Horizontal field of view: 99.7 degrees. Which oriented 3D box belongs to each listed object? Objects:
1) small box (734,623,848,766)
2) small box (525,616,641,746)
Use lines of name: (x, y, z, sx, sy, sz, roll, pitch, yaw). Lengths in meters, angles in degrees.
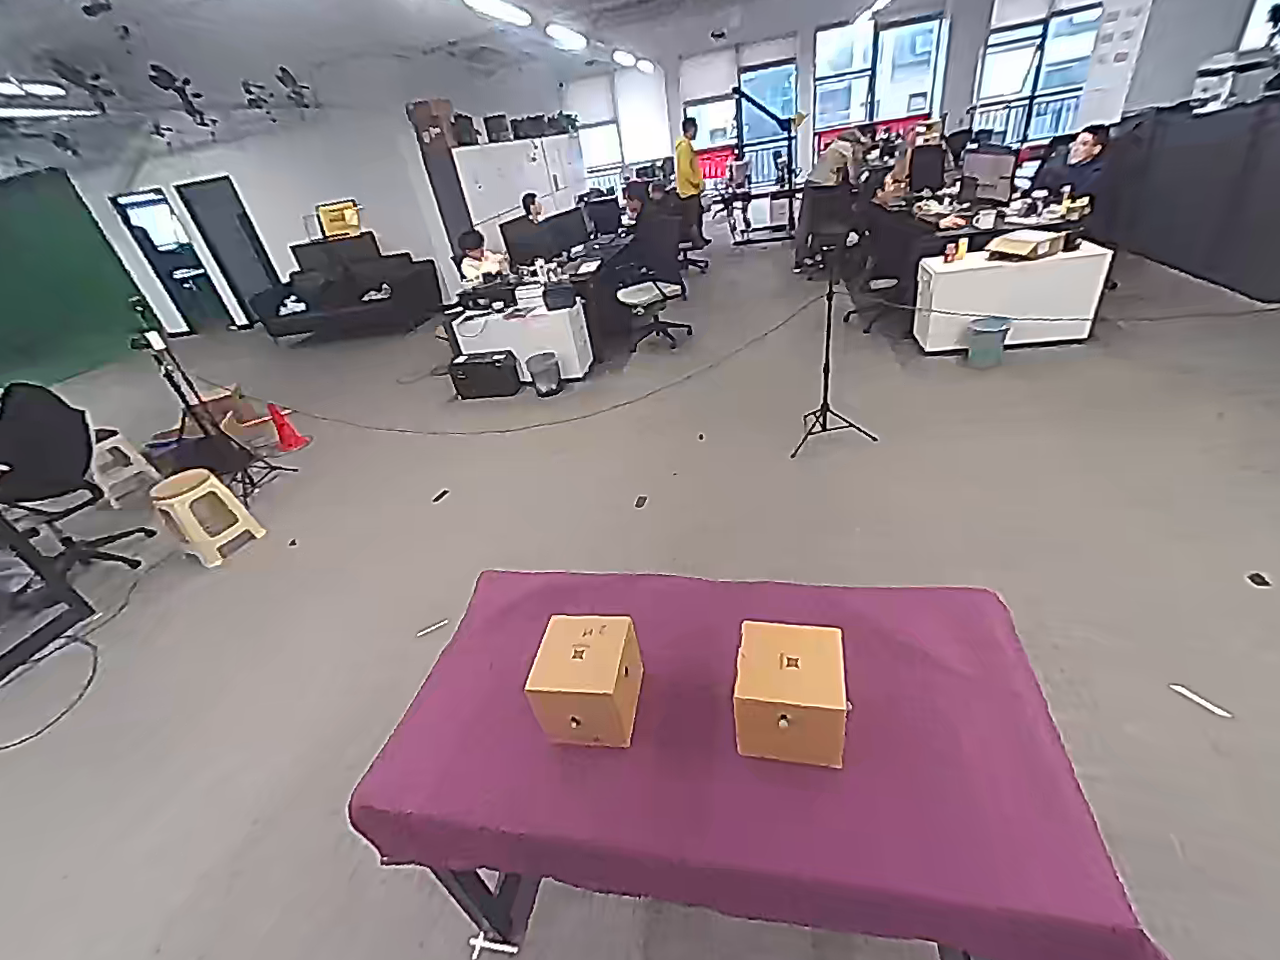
small box: (0.266, 0.379, 0.958, 0.179, 0.176, 0.168, 0, 34, 17)
small box: (-0.099, 0.387, 1.044, 0.168, 0.176, 0.179, -2, 33, 13)
